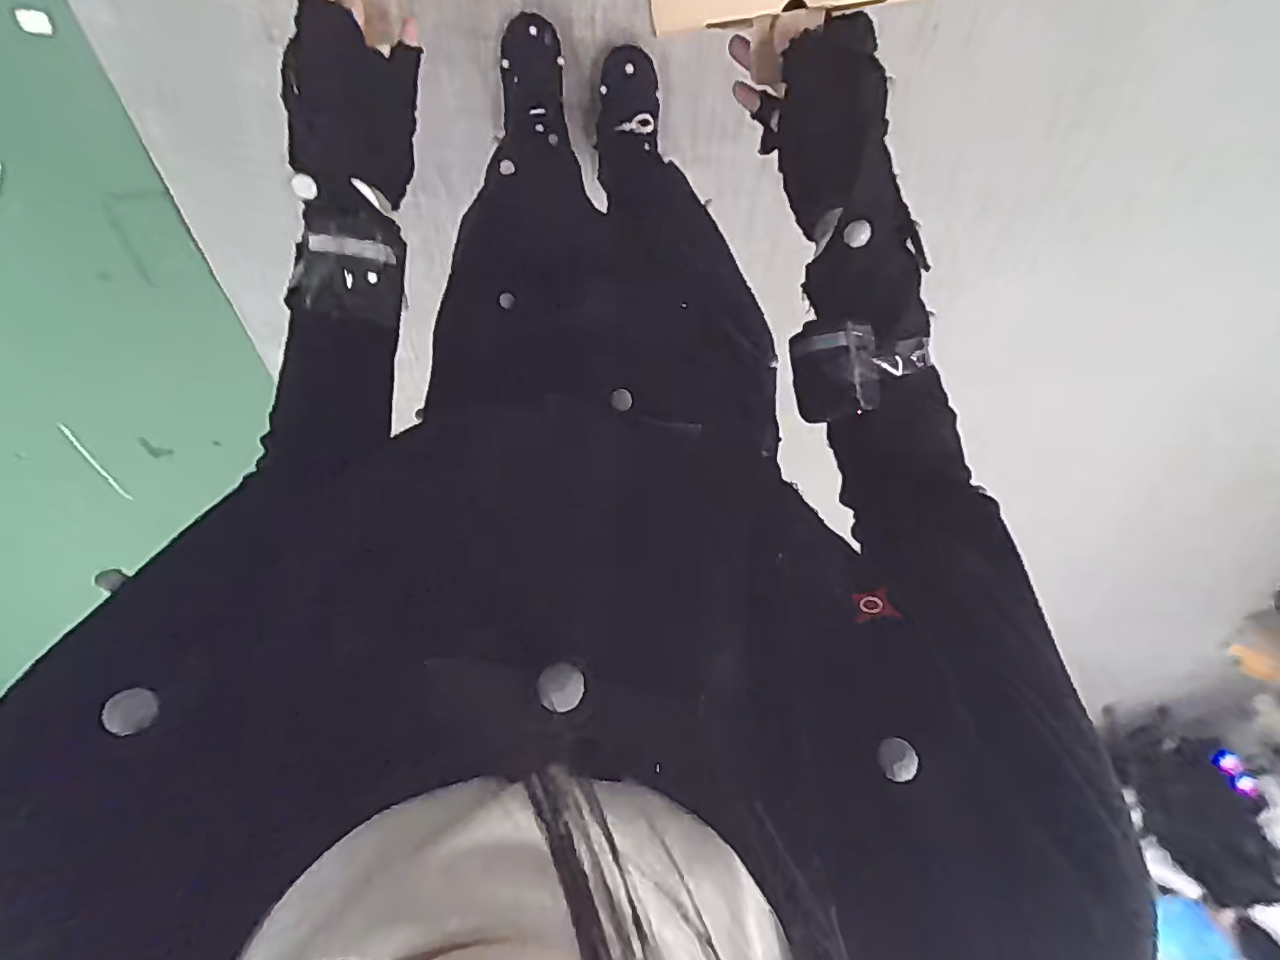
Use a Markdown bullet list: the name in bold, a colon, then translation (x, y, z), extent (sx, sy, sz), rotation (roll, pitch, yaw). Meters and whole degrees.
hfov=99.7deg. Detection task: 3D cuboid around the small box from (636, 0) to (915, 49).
- **small box**: translation (0.071, -0.385, 0.305), extent (0.168, 0.176, 0.179), rotation (-6, 140, 6)
